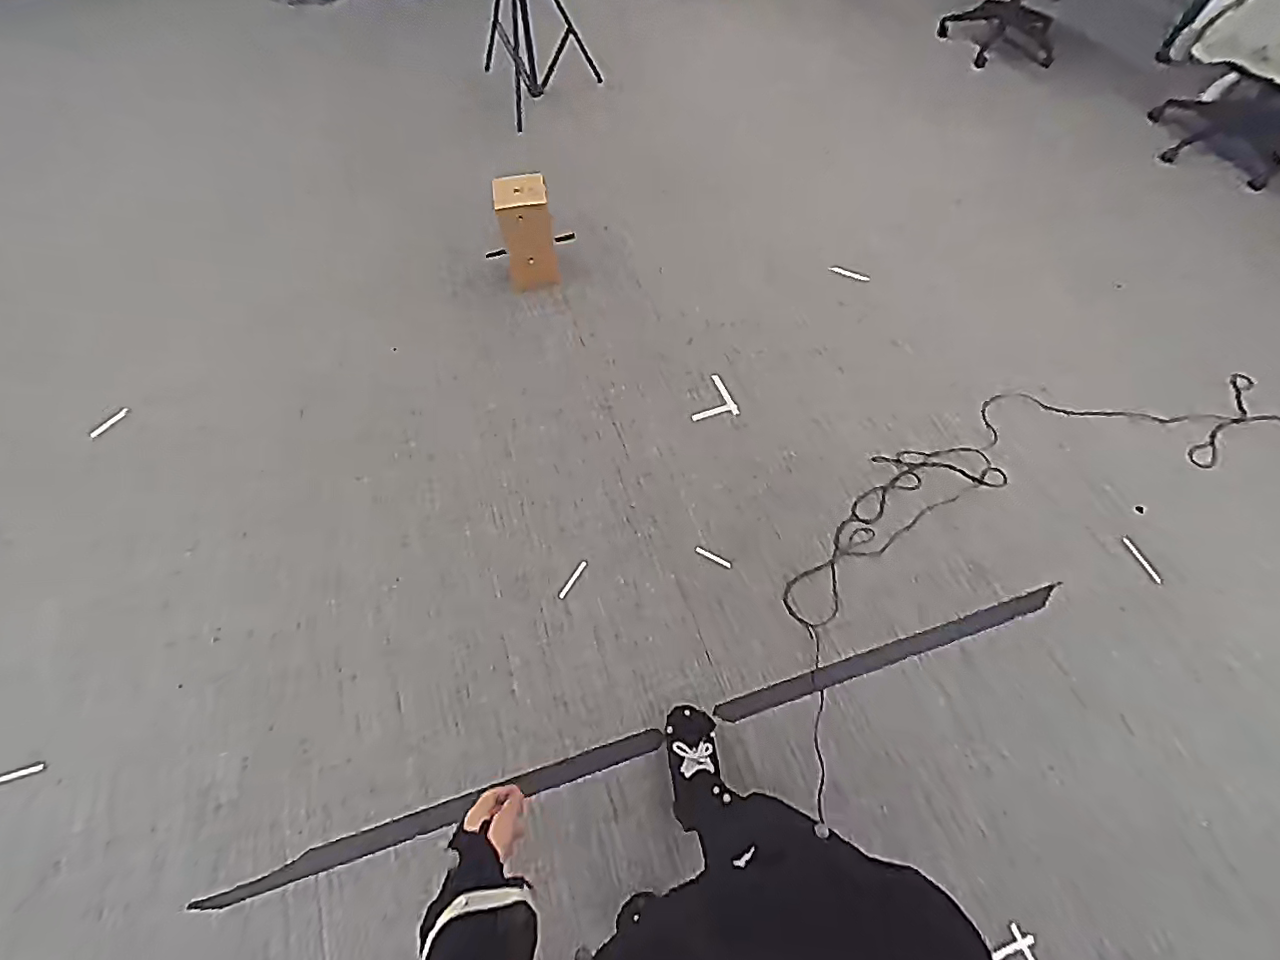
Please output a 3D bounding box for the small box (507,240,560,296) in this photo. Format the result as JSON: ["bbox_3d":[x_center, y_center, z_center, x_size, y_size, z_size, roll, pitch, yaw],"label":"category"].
[{"bbox_3d":[-0.400,-0.818,2.022,0.179,0.176,0.168,-12,62,-7],"label":"small box"}]

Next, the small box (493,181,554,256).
[{"bbox_3d":[-0.403,-0.904,1.881,0.179,0.176,0.168,-10,62,-5],"label":"small box"}]
